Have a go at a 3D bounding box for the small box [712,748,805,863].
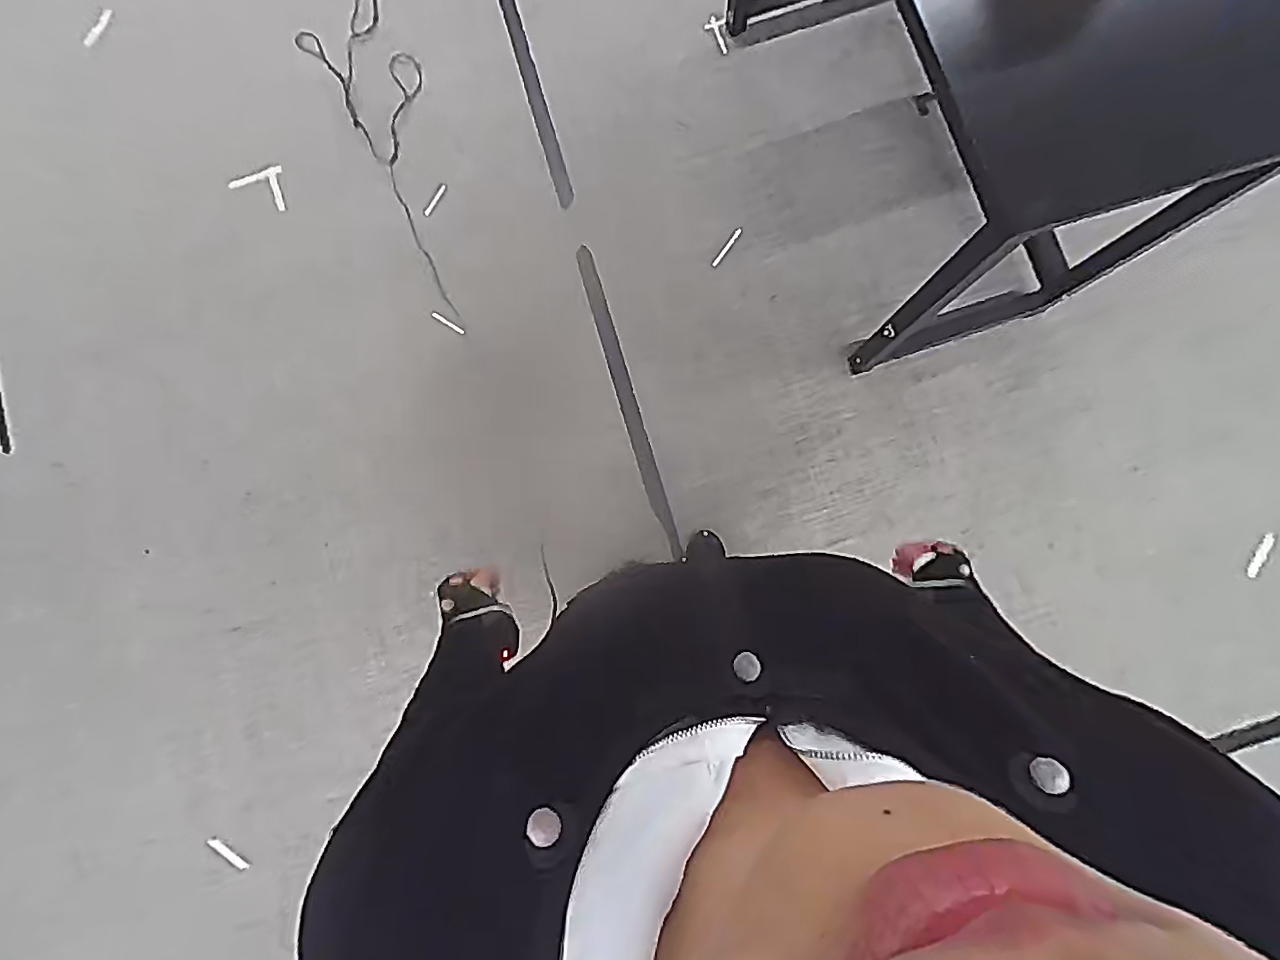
[{"bbox_3d":[0.284,0.799,1.343,0.179,0.176,0.168,-18,83,0],"label":"small box"}]
